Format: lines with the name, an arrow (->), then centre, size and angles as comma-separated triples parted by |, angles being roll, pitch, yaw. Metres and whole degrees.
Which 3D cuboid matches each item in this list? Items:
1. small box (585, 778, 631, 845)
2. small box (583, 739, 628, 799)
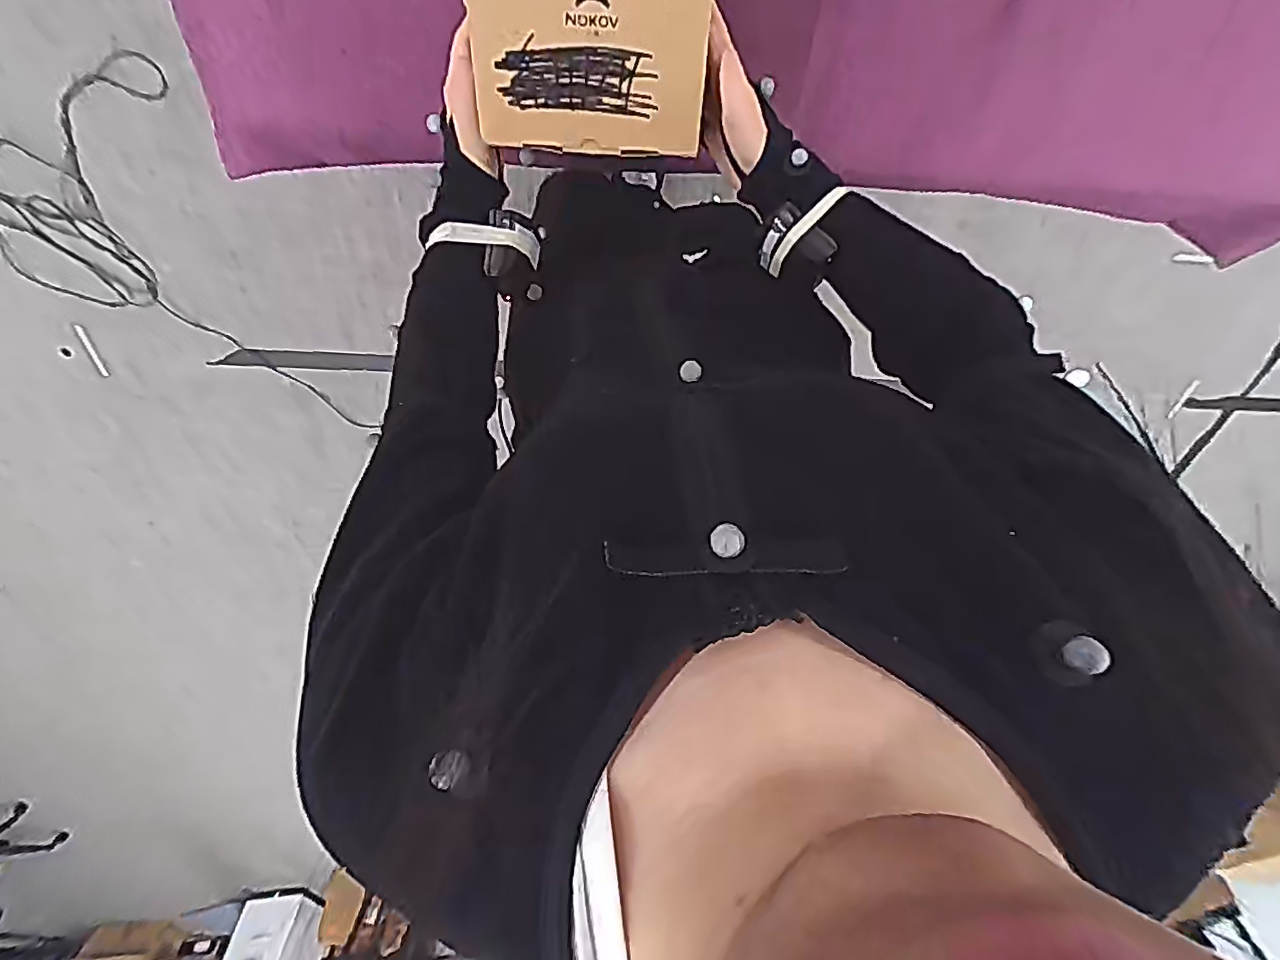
small box -> -0.125, 1.257, 2.050 | 0.168, 0.176, 0.179 | 1, 126, -6
small box -> -0.141, 1.164, 2.183 | 0.179, 0.176, 0.168 | 0, 127, -4
